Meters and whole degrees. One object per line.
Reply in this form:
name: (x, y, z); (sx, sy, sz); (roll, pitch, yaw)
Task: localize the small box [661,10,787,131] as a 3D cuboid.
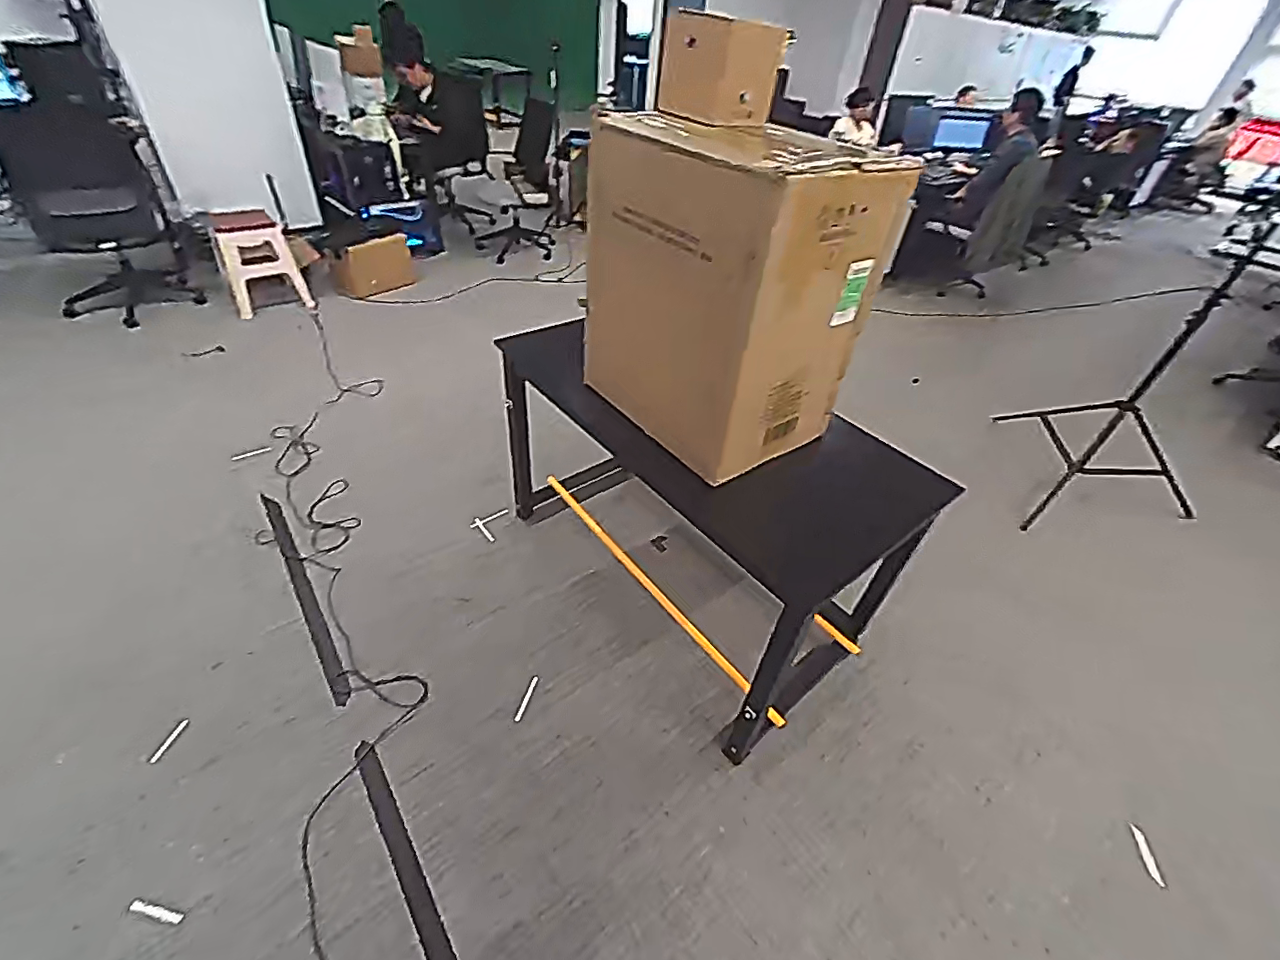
small box: (0.162, -0.833, 1.106); (0.168, 0.176, 0.179); (-24, 51, -32)
